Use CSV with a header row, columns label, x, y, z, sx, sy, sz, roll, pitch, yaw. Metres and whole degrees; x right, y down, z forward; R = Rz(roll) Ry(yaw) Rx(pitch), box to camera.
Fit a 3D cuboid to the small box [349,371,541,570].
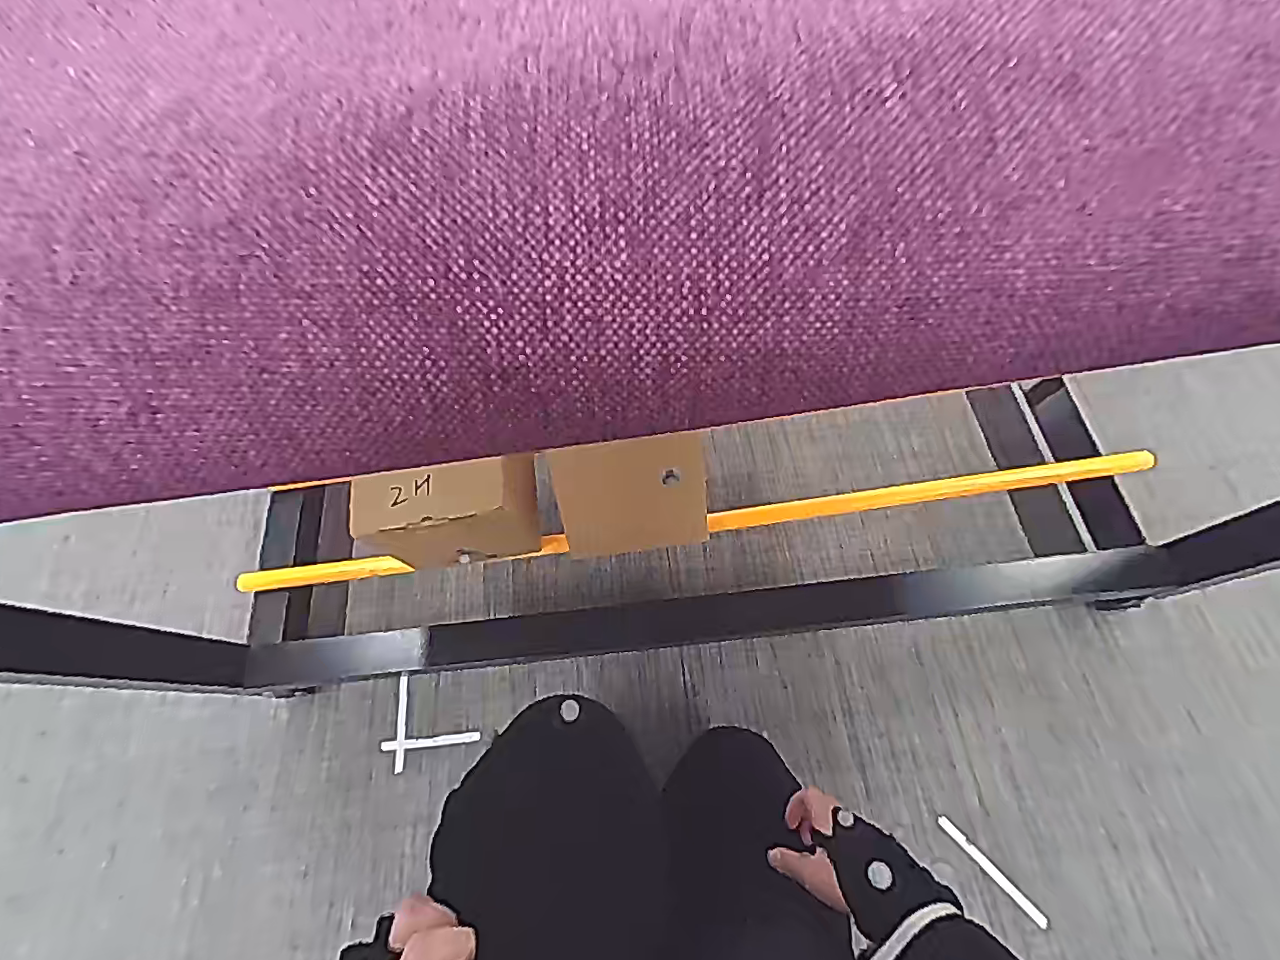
label,x,y,z,sx,sy,sz,roll,pitch,yaw
small box,-0.224,-0.004,0.661,0.168,0.176,0.179,-10,67,0
